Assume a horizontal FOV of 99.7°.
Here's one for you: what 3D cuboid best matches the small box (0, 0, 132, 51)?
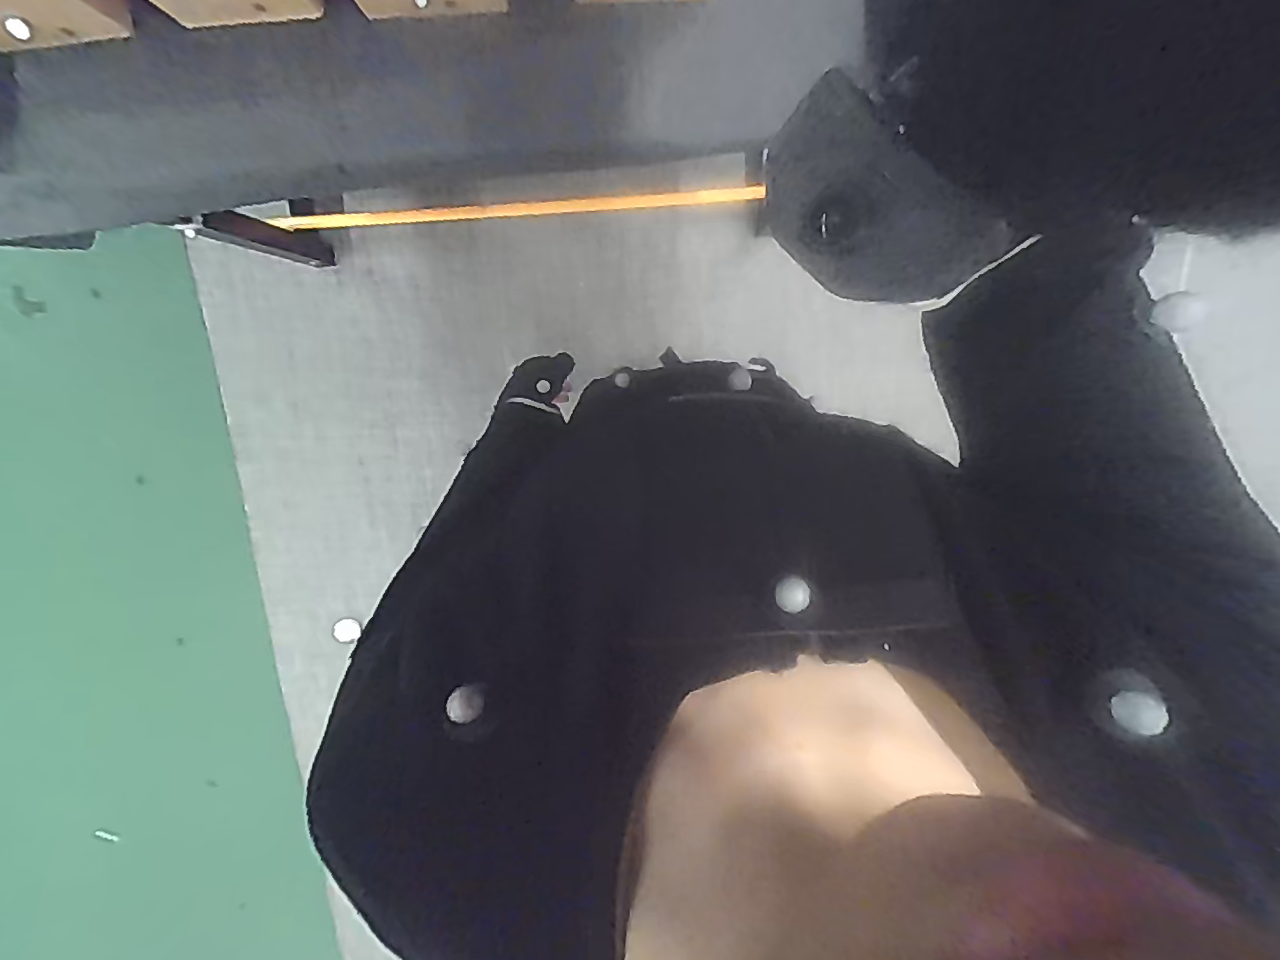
[{"bbox_3d":[-0.678,-0.579,0.539,0.168,0.176,0.179,-5,102,2],"label":"small box"}]

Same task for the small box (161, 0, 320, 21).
[{"bbox_3d":[-0.451,-0.598,0.536,0.168,0.176,0.179,-3,101,1],"label":"small box"}]
